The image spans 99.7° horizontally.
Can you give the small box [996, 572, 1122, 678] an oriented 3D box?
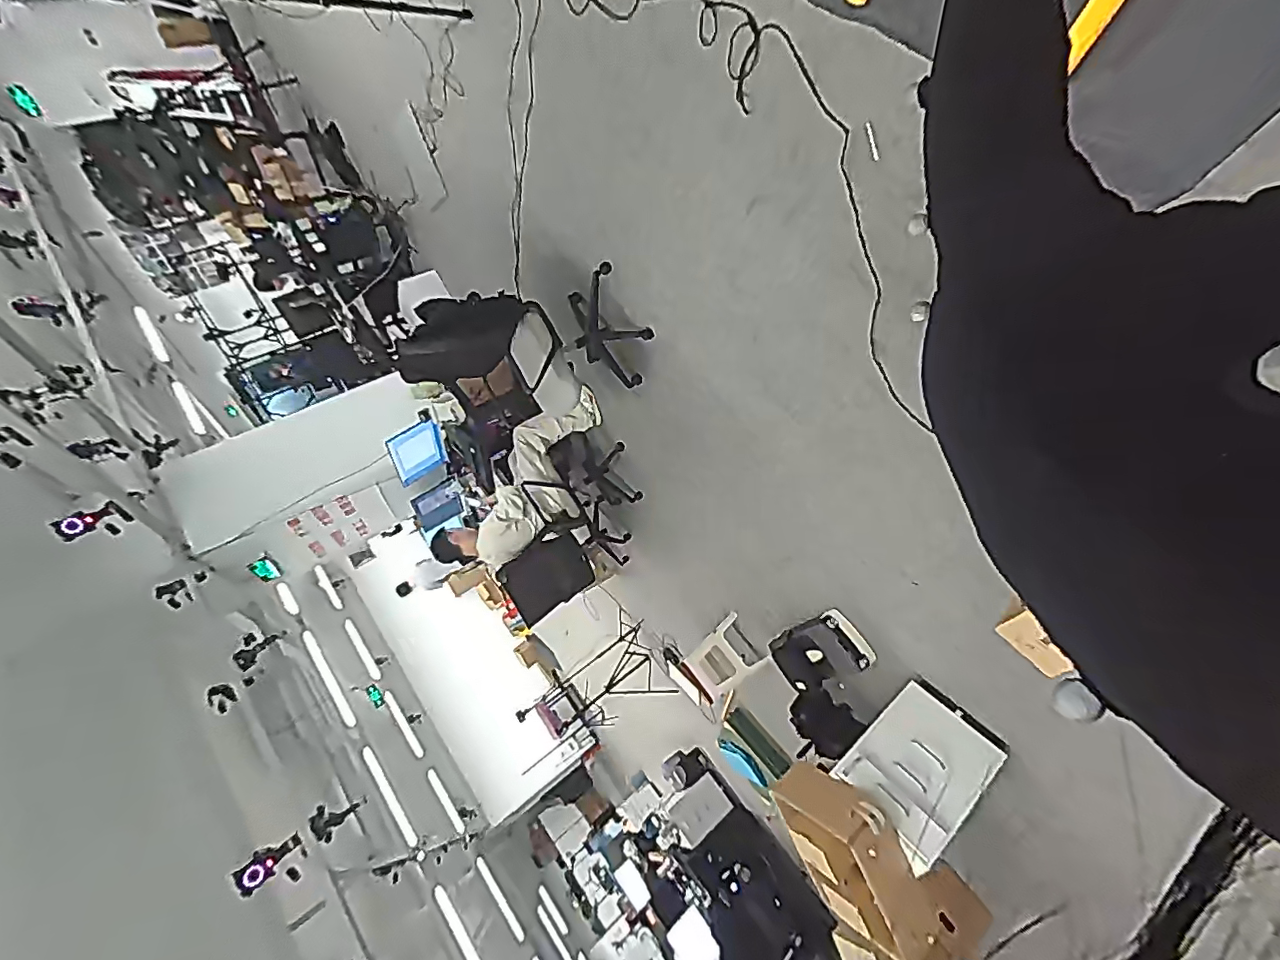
[{"bbox_3d":[1.071,0.366,1.378,0.168,0.176,0.179,46,153,23],"label":"small box"}]
